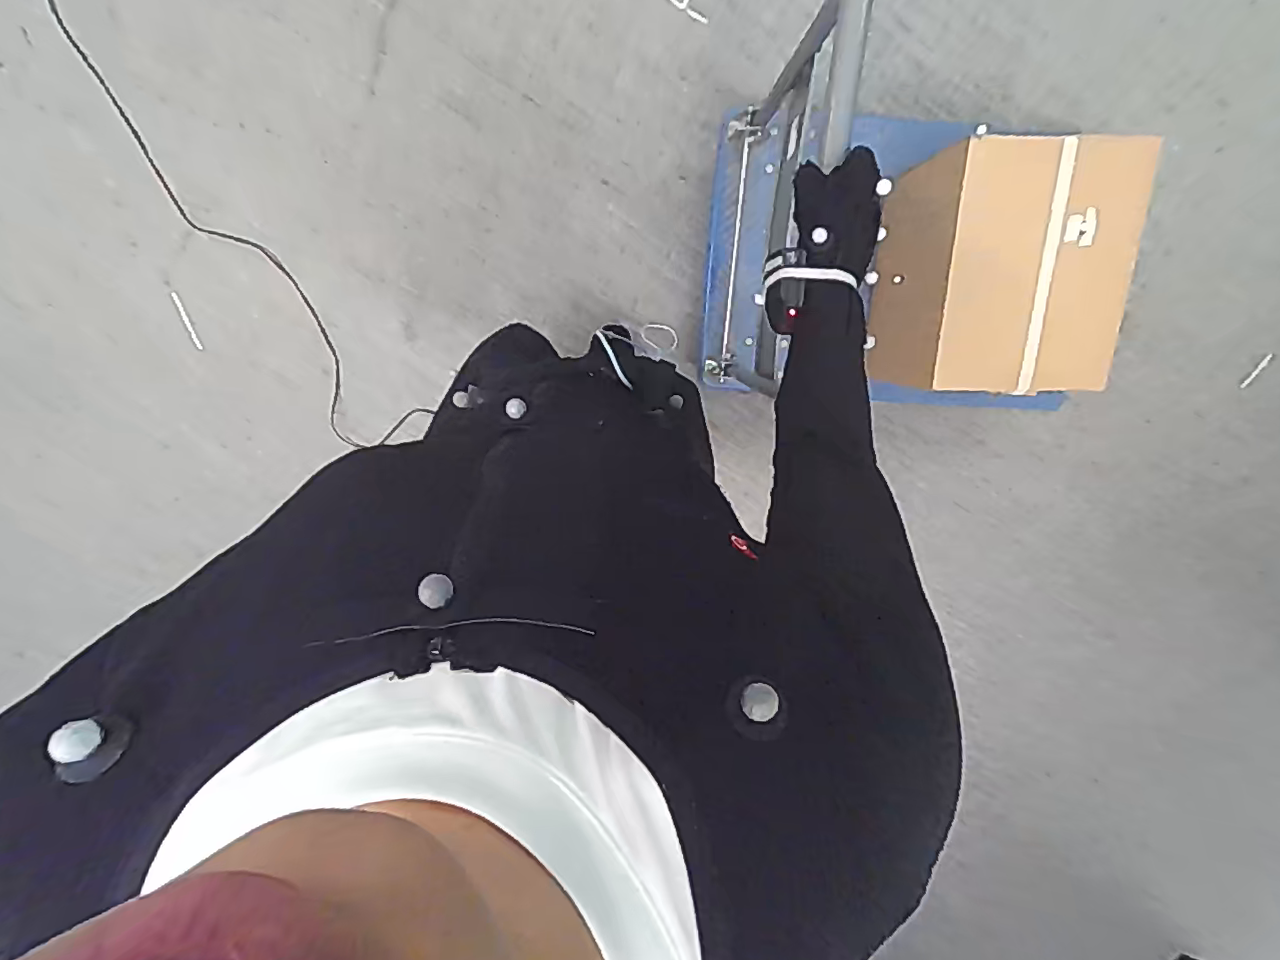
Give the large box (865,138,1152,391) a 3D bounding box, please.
[{"bbox_3d":[0.664,-0.388,1.052,0.320,0.320,0.408,0,105,-1],"label":"large box"}]
